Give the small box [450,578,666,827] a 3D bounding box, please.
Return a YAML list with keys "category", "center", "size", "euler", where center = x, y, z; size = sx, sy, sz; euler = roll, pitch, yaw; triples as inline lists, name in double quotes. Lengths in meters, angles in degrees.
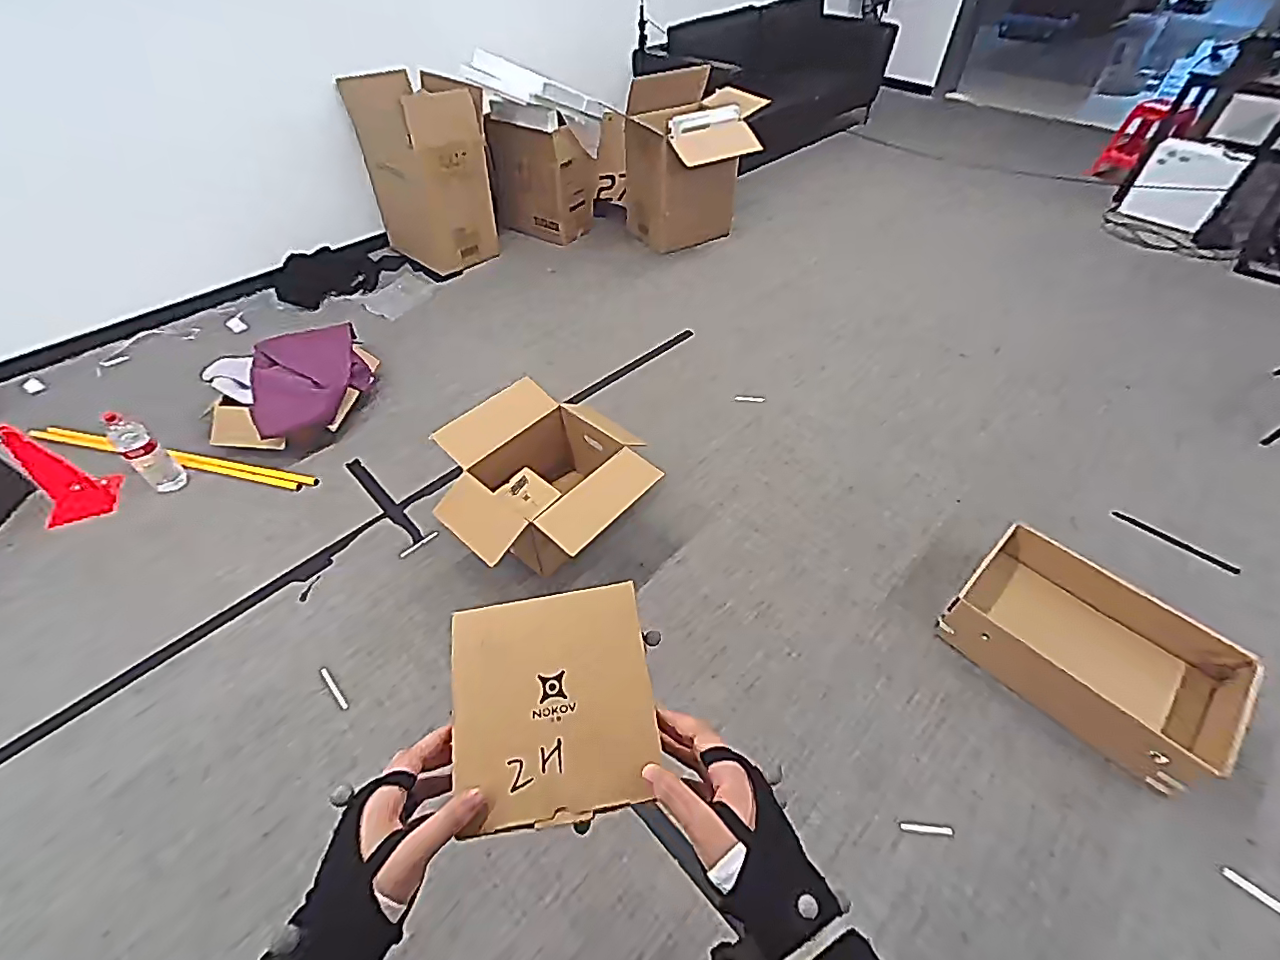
- category: "small box"
  center: [-0.073, 0.215, 0.518]
  size: [0.168, 0.176, 0.179]
  euler: [-9, 60, -3]
